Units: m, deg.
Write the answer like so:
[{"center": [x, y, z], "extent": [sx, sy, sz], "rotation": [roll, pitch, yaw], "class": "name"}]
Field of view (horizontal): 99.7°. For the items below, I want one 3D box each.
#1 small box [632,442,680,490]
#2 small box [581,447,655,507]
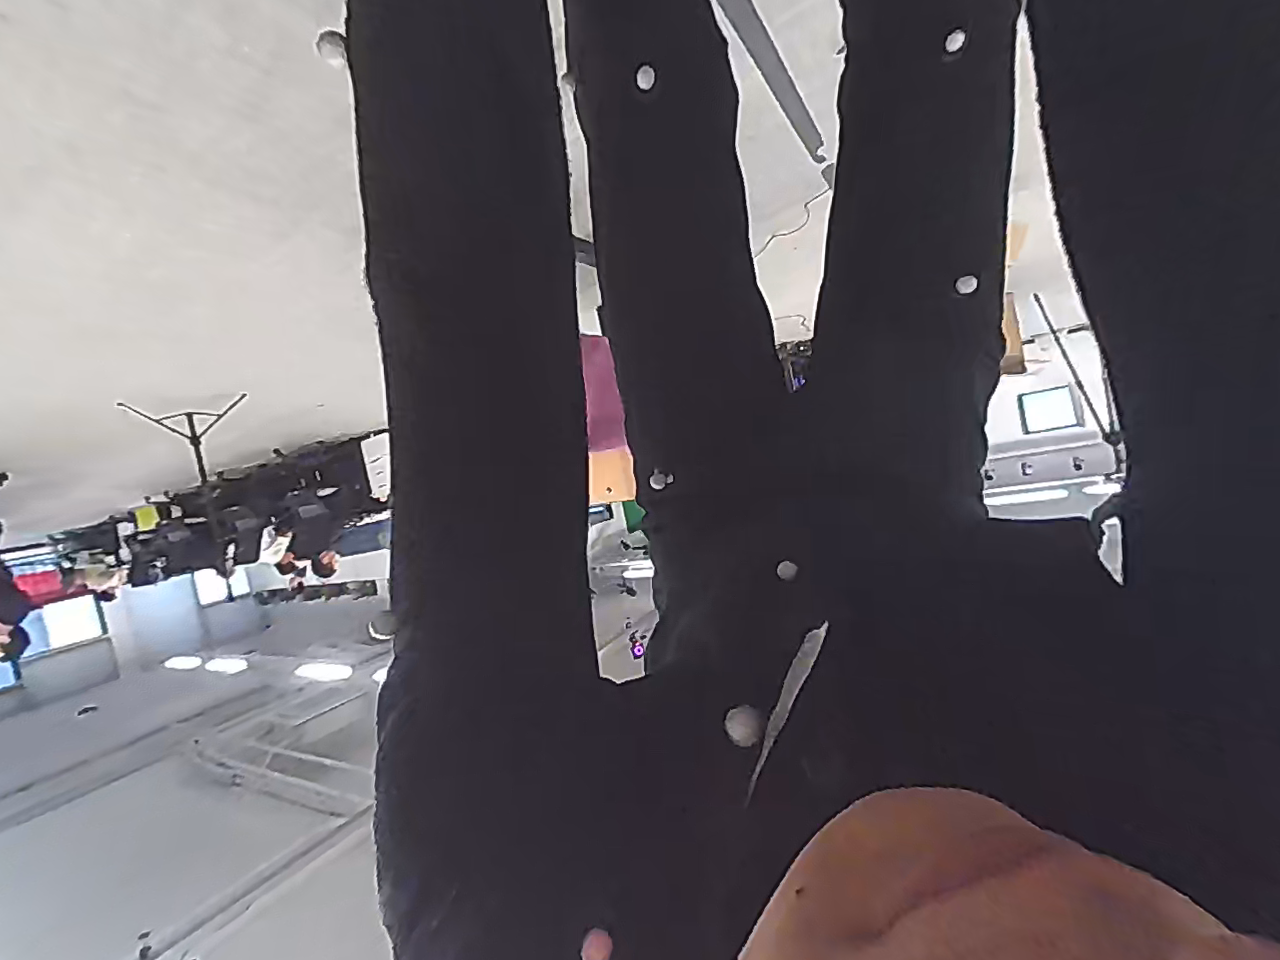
[{"center": [0.028, -0.048, 2.028], "extent": [0.179, 0.176, 0.168], "rotation": [-11, -178, 28], "class": "small box"}, {"center": [-0.078, -0.016, 1.837], "extent": [0.179, 0.176, 0.168], "rotation": [-9, -176, 35], "class": "small box"}]
